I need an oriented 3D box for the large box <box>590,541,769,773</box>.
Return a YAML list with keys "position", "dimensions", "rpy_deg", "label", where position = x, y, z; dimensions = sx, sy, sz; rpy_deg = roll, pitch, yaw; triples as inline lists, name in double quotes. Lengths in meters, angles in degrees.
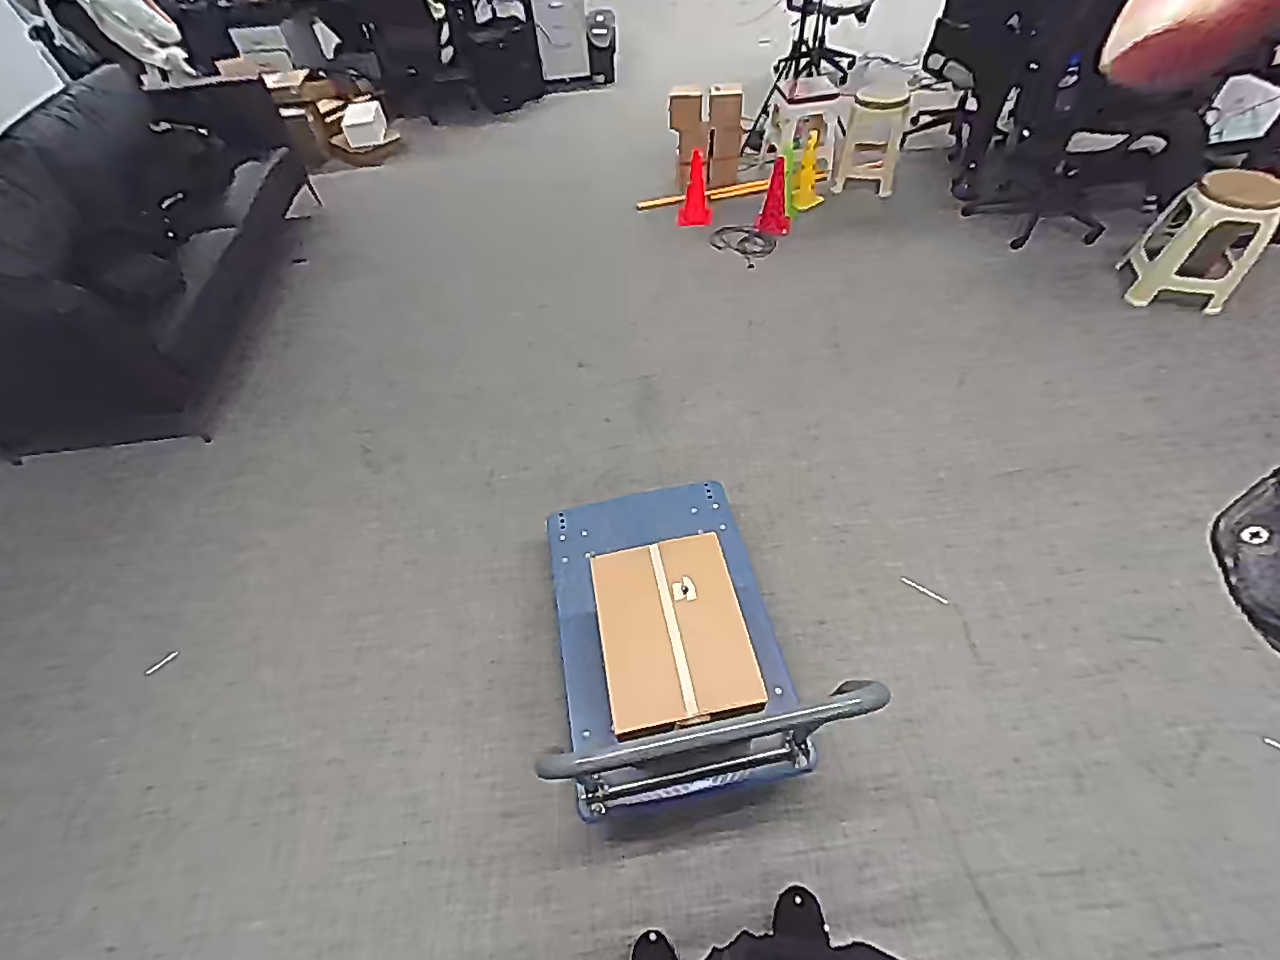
- position: [0.084, 0.420, 1.290]
  dimensions: [0.320, 0.320, 0.408]
  rpy_deg: [-11, 51, -3]
  label: "large box"
